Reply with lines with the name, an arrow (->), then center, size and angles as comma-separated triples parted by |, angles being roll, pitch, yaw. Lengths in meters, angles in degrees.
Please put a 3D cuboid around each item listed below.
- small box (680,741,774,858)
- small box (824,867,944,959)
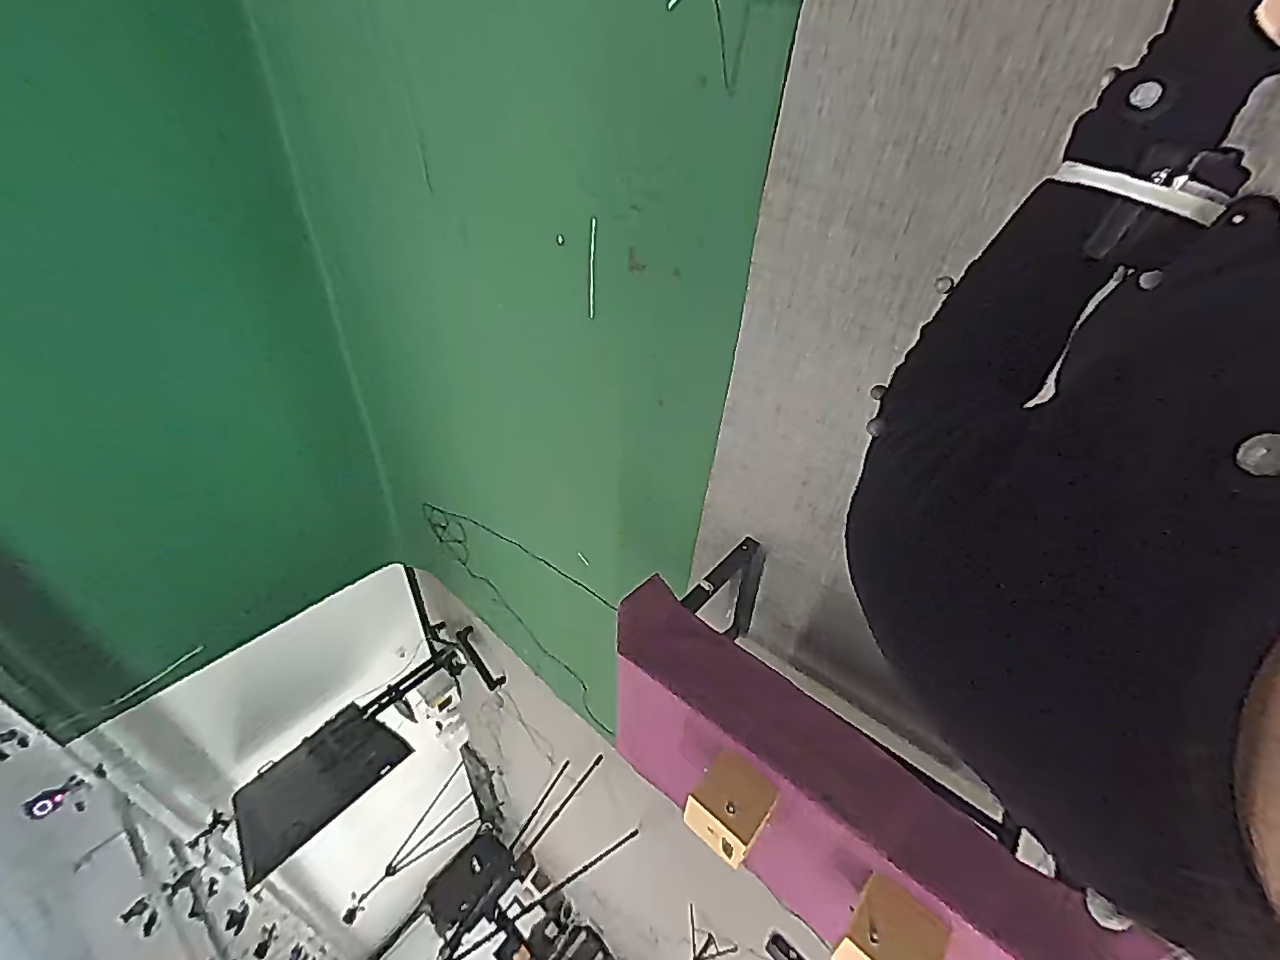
small box -> 0.231, 0.841, 1.433 | 0.179, 0.176, 0.168 | 31, 135, 29
small box -> 0.551, 1.026, 1.227 | 0.179, 0.176, 0.168 | 28, 135, 31
